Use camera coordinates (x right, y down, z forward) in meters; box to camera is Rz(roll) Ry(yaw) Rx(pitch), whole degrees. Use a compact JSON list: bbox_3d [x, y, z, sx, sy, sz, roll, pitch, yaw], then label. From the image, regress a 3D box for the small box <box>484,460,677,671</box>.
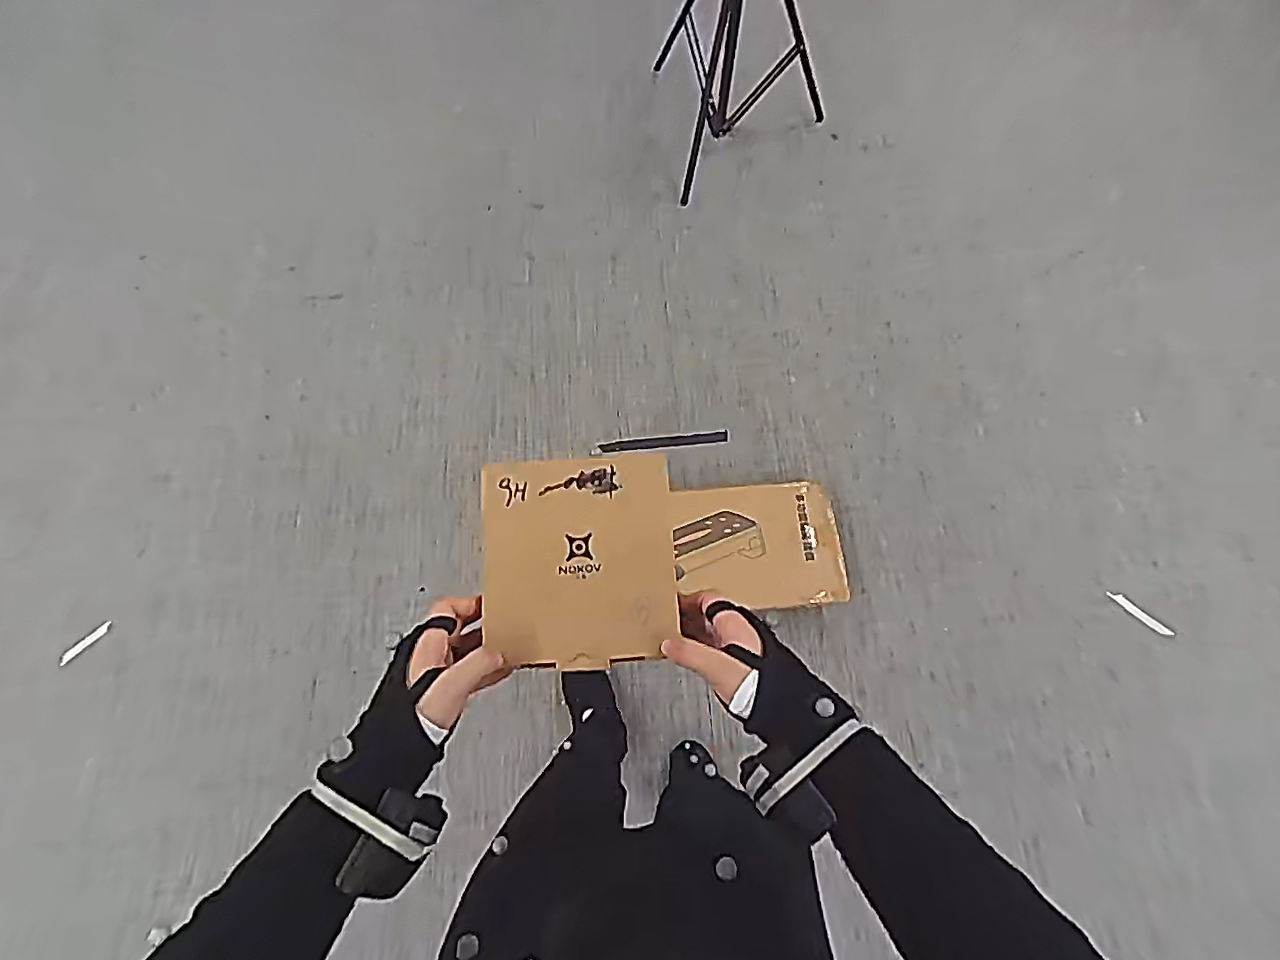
[{"bbox_3d":[-0.052,0.084,0.543,0.168,0.176,0.179,-3,79,-1],"label":"small box"}]
